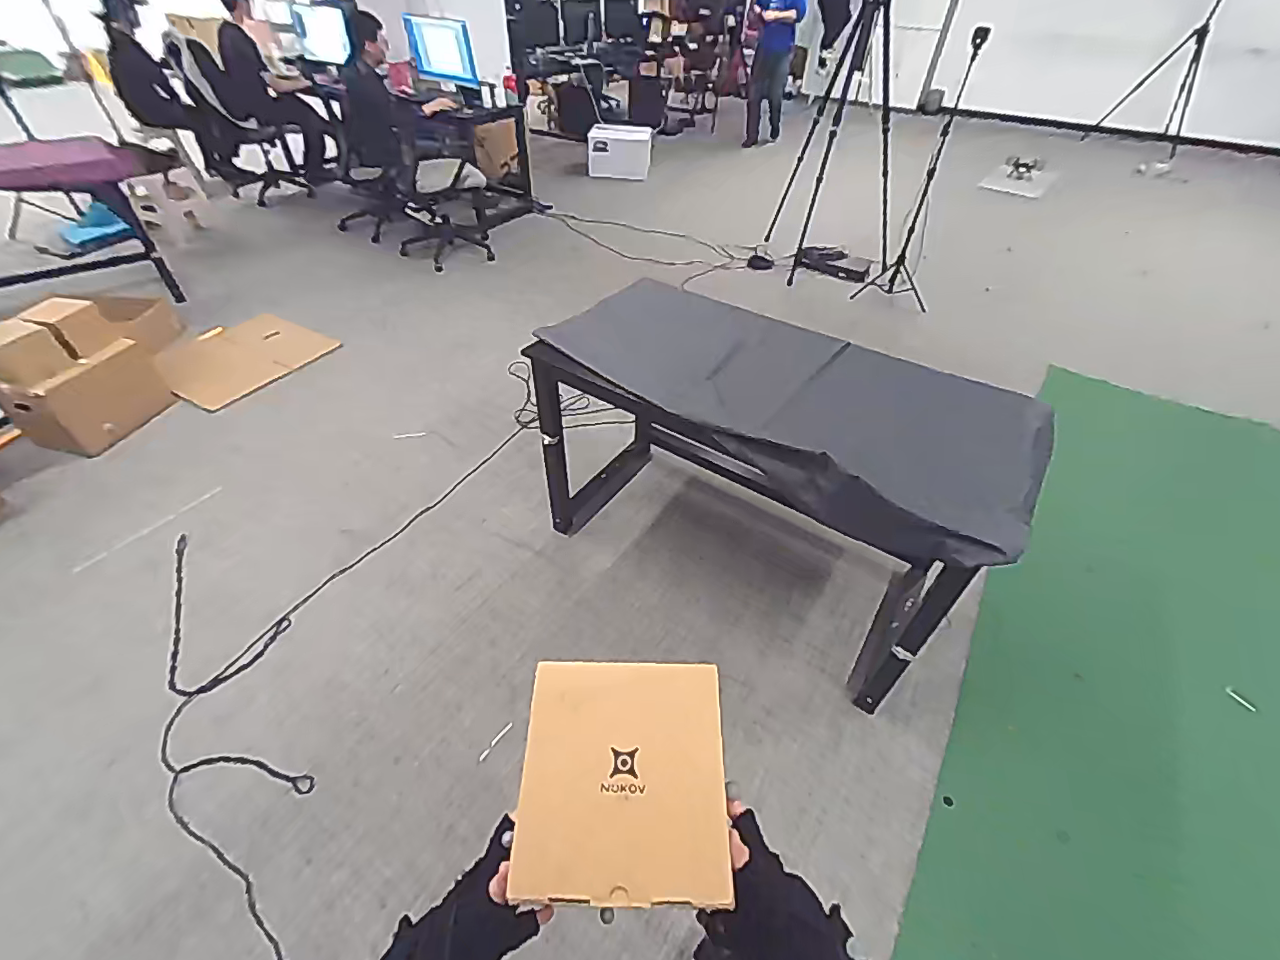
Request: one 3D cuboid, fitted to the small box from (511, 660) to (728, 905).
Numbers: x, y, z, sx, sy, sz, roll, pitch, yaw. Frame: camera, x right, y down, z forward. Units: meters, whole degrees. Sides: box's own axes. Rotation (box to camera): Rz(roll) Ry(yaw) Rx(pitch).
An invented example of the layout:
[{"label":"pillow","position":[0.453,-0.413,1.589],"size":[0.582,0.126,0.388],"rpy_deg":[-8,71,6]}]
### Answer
[{"label":"small box","position":[-0.015,0.288,0.512],"size":[0.168,0.176,0.179],"rpy_deg":[2,53,0]}]
